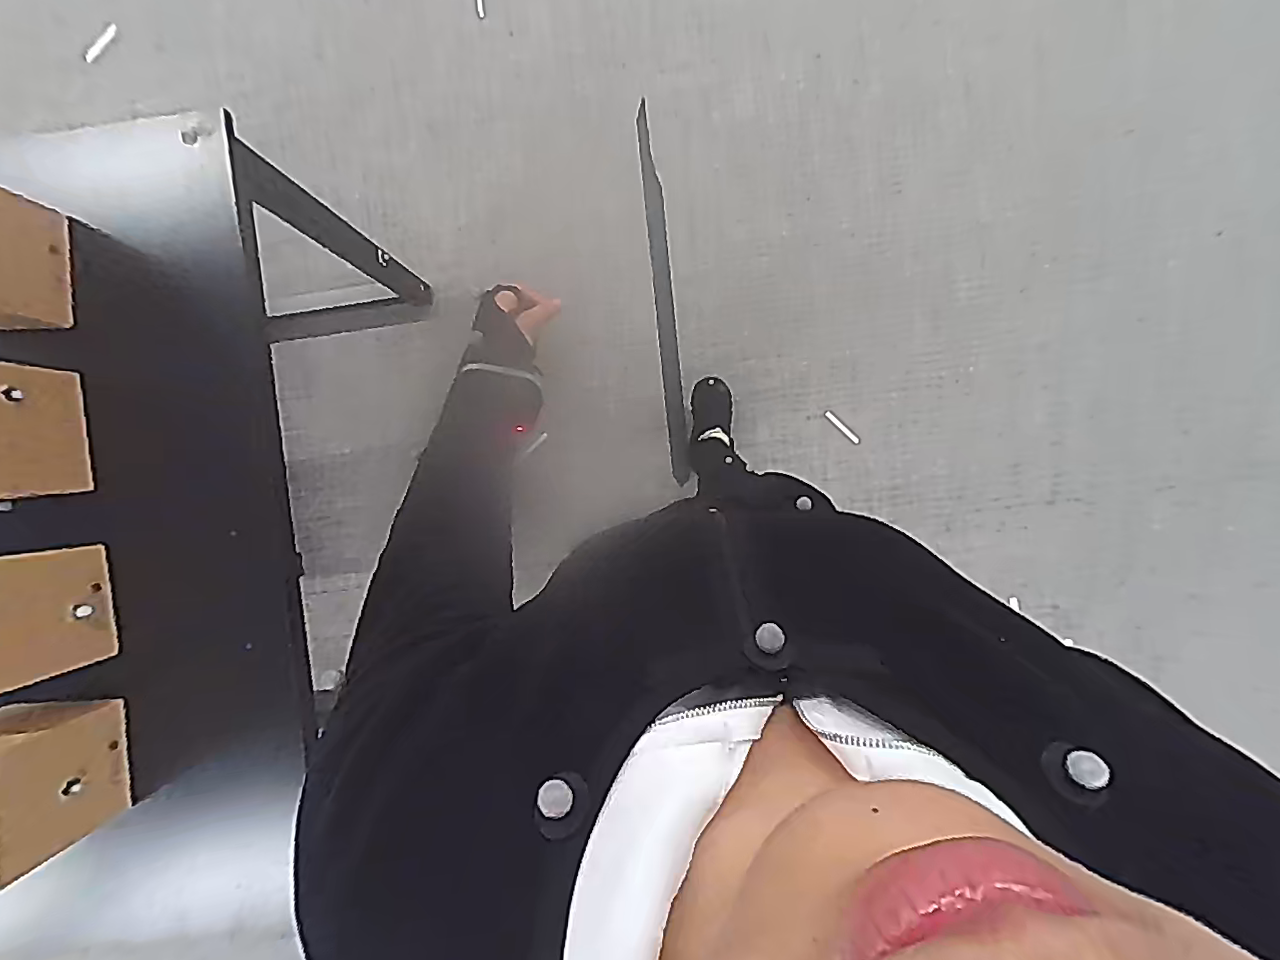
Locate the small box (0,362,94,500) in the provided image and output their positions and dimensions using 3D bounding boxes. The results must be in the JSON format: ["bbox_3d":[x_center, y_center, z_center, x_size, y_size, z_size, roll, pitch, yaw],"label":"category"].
[{"bbox_3d":[-0.893,-0.062,0.717,0.168,0.176,0.179,-6,92,4],"label":"small box"}]

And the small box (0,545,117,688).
[{"bbox_3d":[-0.865,0.184,0.719,0.179,0.176,0.168,-7,91,2],"label":"small box"}]

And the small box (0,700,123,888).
[{"bbox_3d":[-0.845,0.408,0.722,0.179,0.176,0.168,-4,90,3],"label":"small box"}]

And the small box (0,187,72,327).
[{"bbox_3d":[-0.918,-0.302,0.711,0.179,0.176,0.168,-1,92,3],"label":"small box"}]
